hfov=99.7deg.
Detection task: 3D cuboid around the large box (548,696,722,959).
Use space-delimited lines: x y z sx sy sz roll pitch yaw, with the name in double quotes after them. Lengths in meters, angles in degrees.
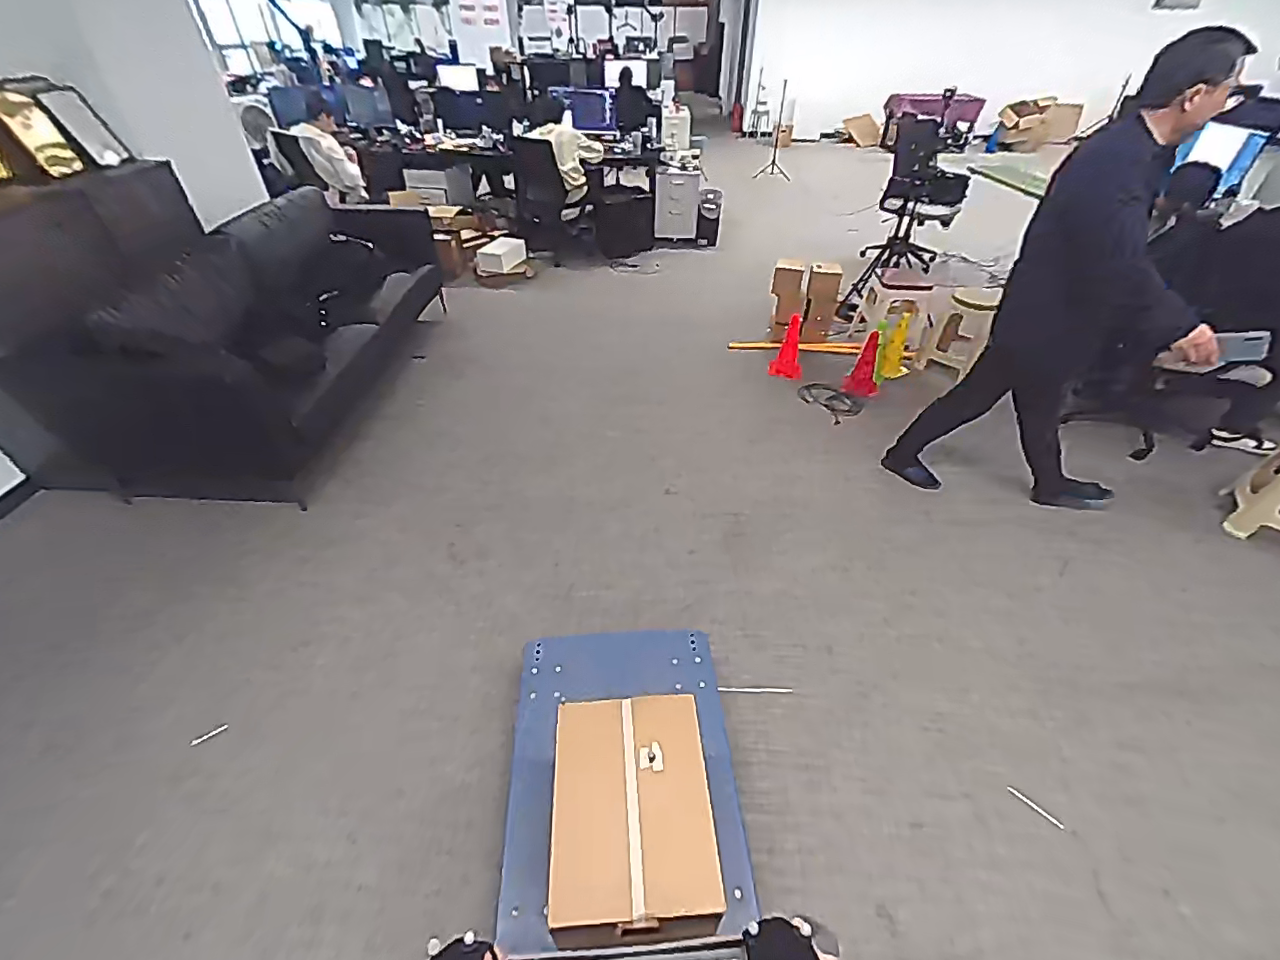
-0.021 0.750 1.188 0.320 0.320 0.408 -3 40 -3 "large box"
